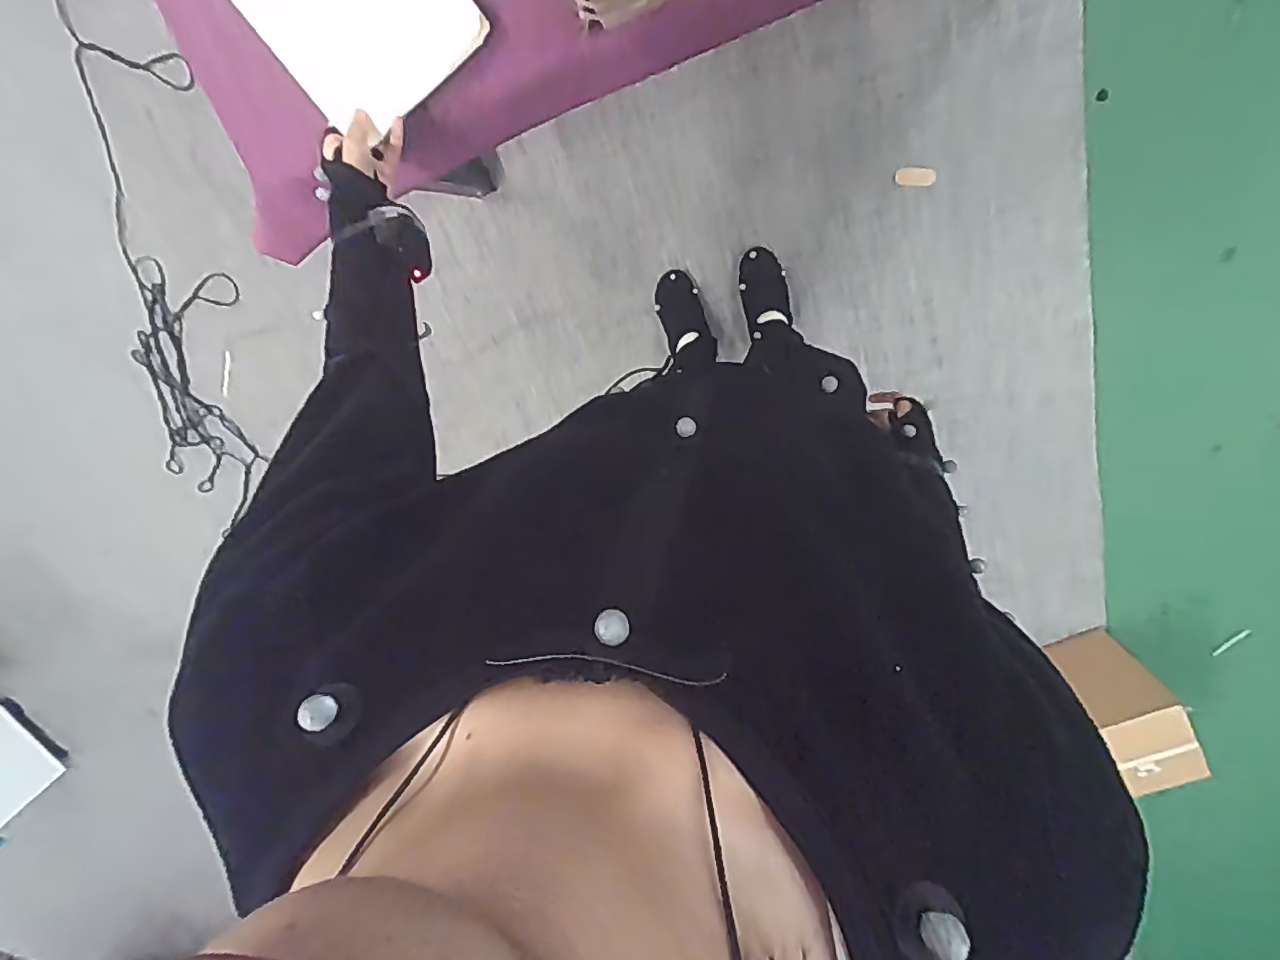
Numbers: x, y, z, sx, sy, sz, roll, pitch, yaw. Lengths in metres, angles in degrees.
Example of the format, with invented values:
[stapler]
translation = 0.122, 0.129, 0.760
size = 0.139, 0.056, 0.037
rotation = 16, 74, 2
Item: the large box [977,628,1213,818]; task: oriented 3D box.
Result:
[large box]
translation = 1.334, 0.723, 1.627
size = 0.408, 0.320, 0.320
rotation = -31, 109, 16
